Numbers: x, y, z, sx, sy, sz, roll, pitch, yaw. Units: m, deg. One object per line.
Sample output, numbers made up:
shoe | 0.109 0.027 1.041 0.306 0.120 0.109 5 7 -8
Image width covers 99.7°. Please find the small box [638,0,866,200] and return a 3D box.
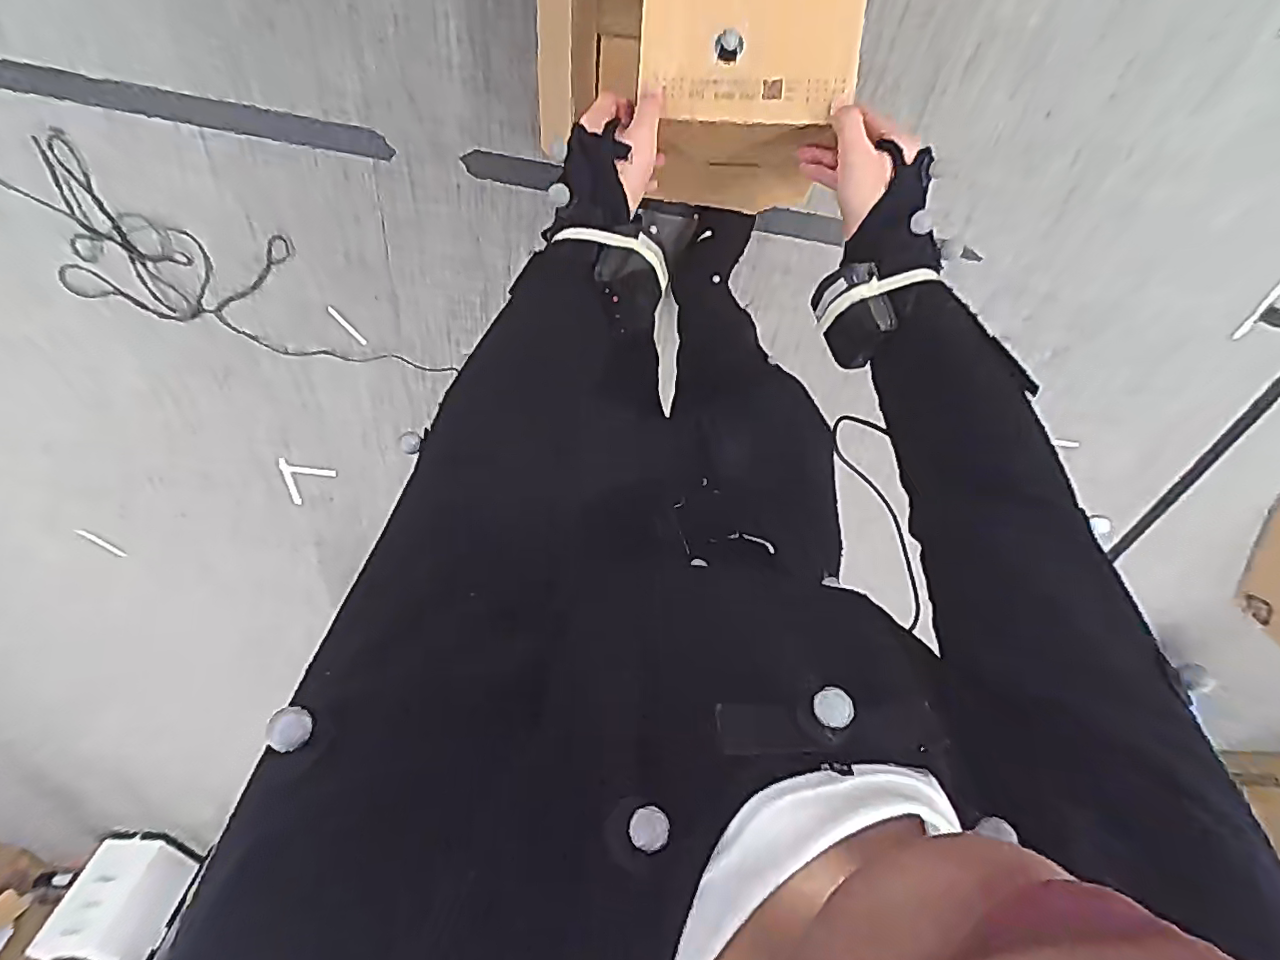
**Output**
small box | 0.090 -0.361 0.478 0.168 0.179 0.176 5 101 5
